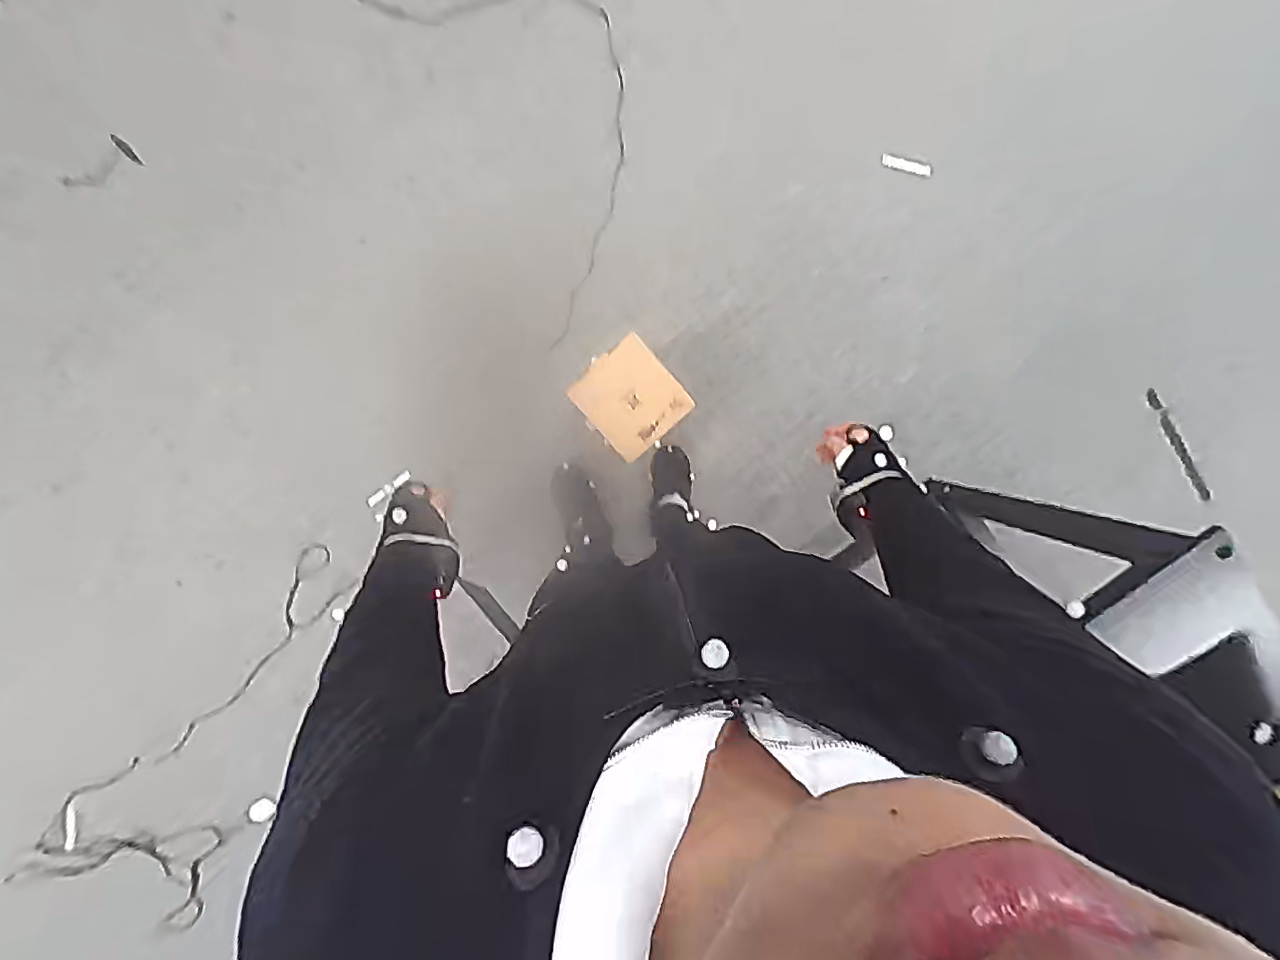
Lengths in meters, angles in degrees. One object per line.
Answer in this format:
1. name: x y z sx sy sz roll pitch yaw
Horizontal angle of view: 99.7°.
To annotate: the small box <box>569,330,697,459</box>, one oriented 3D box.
1. small box: -0.018 -0.159 1.046 0.168 0.176 0.179 -42 98 2
